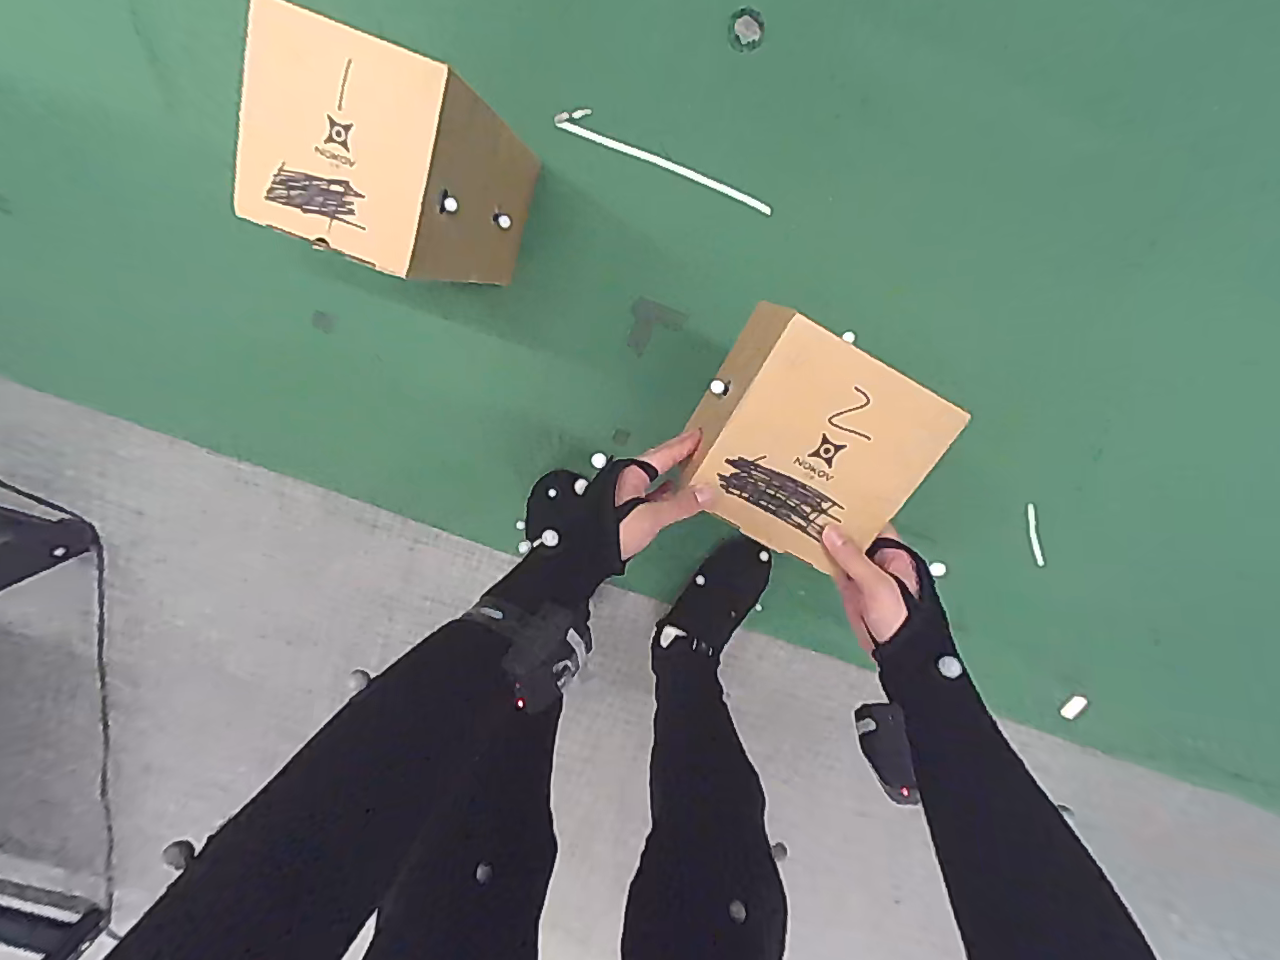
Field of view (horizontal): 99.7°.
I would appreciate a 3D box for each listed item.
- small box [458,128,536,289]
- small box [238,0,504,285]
[{"bbox_3d":[-0.244,-0.360,0.695,0.168,0.176,0.179,20,109,-4],"label":"small box"},{"bbox_3d":[-0.252,-0.308,0.539,0.168,0.176,0.179,20,109,-4],"label":"small box"}]
